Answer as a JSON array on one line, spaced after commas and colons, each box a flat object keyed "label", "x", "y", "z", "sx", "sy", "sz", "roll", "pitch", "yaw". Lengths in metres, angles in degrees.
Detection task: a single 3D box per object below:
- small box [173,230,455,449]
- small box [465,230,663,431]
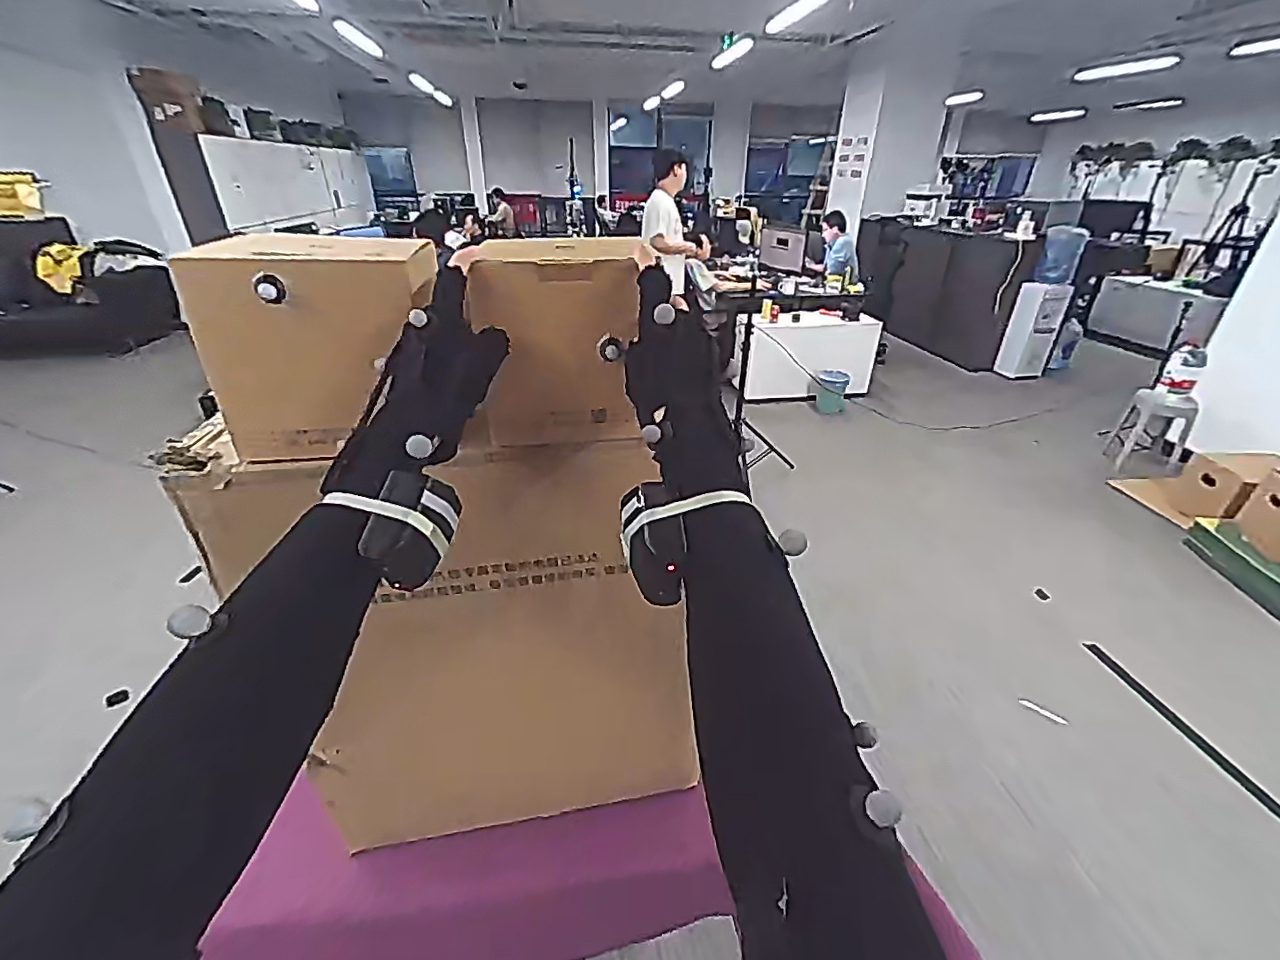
[{"label": "small box", "x": -0.276, "y": -0.139, "z": 0.511, "sx": 0.168, "sy": 0.176, "sz": 0.179, "roll": -5, "pitch": 28, "yaw": -10}, {"label": "small box", "x": -0.069, "y": -0.153, "z": 0.548, "sx": 0.168, "sy": 0.176, "sz": 0.179, "roll": -3, "pitch": 28, "yaw": -7}]
